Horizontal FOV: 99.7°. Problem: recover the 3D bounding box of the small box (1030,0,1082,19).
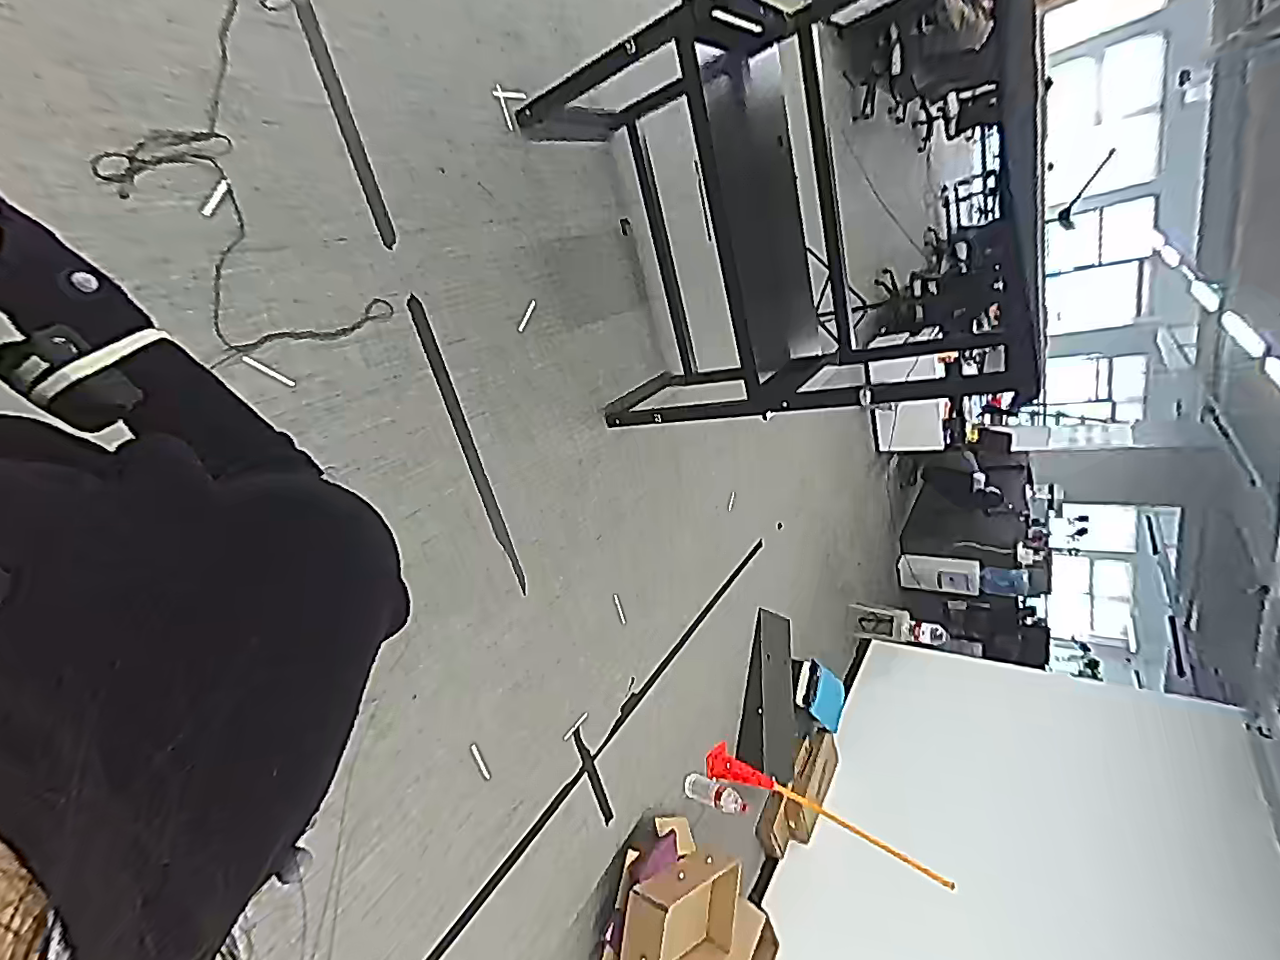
[{"bbox_3d":[0.897,-1.082,1.099,0.179,0.176,0.168,-42,124,-46],"label":"small box"}]
